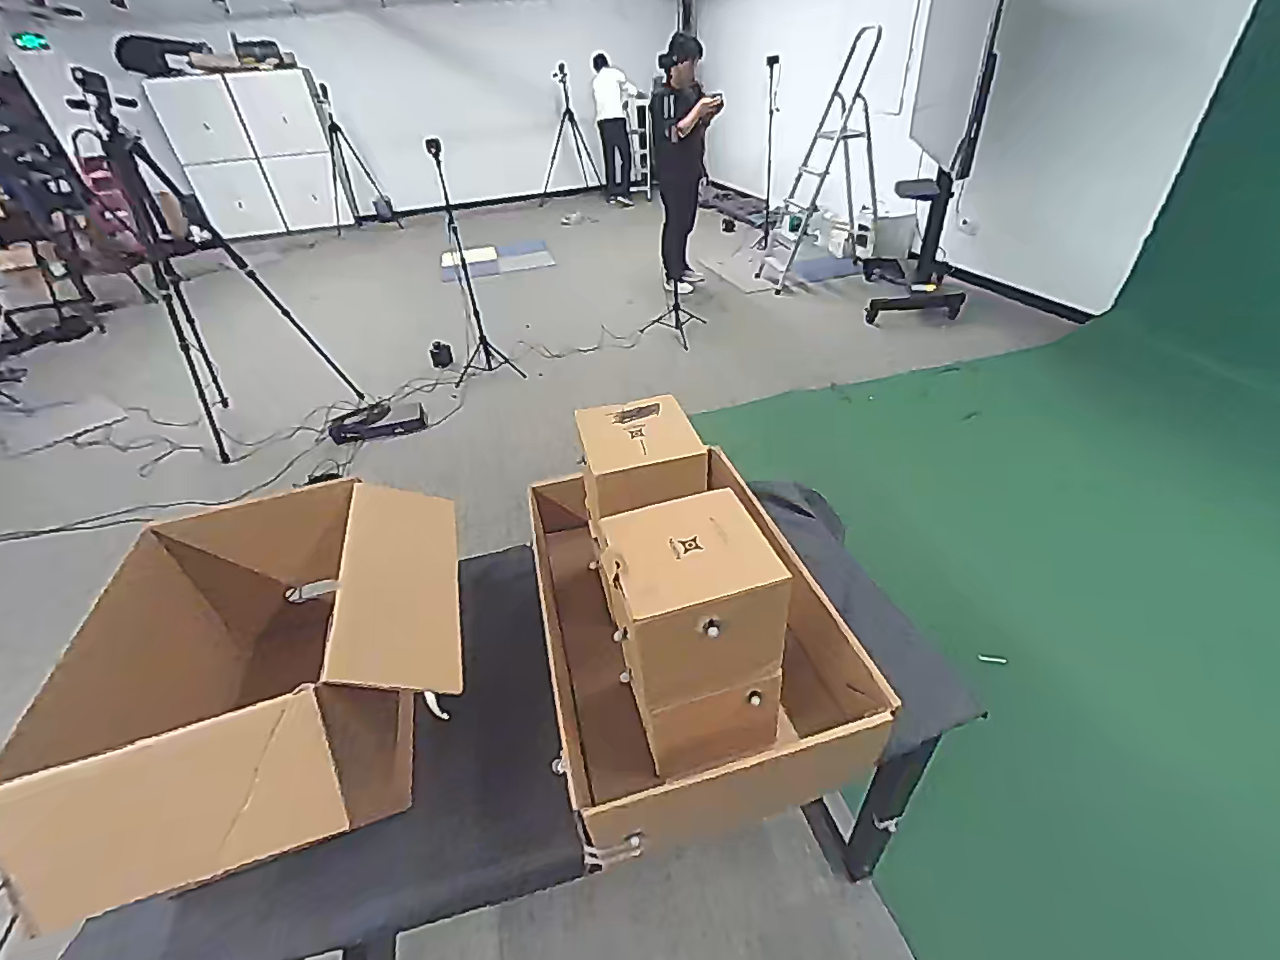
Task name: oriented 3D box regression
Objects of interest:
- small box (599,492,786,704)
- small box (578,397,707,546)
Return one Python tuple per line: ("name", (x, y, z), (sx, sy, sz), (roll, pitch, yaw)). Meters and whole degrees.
("small box", (0.059, 0.144, 0.662), (0.179, 0.176, 0.168), (-12, 38, -10))
("small box", (0.000, -0.007, 0.859), (0.168, 0.176, 0.179), (-11, 40, -9))
